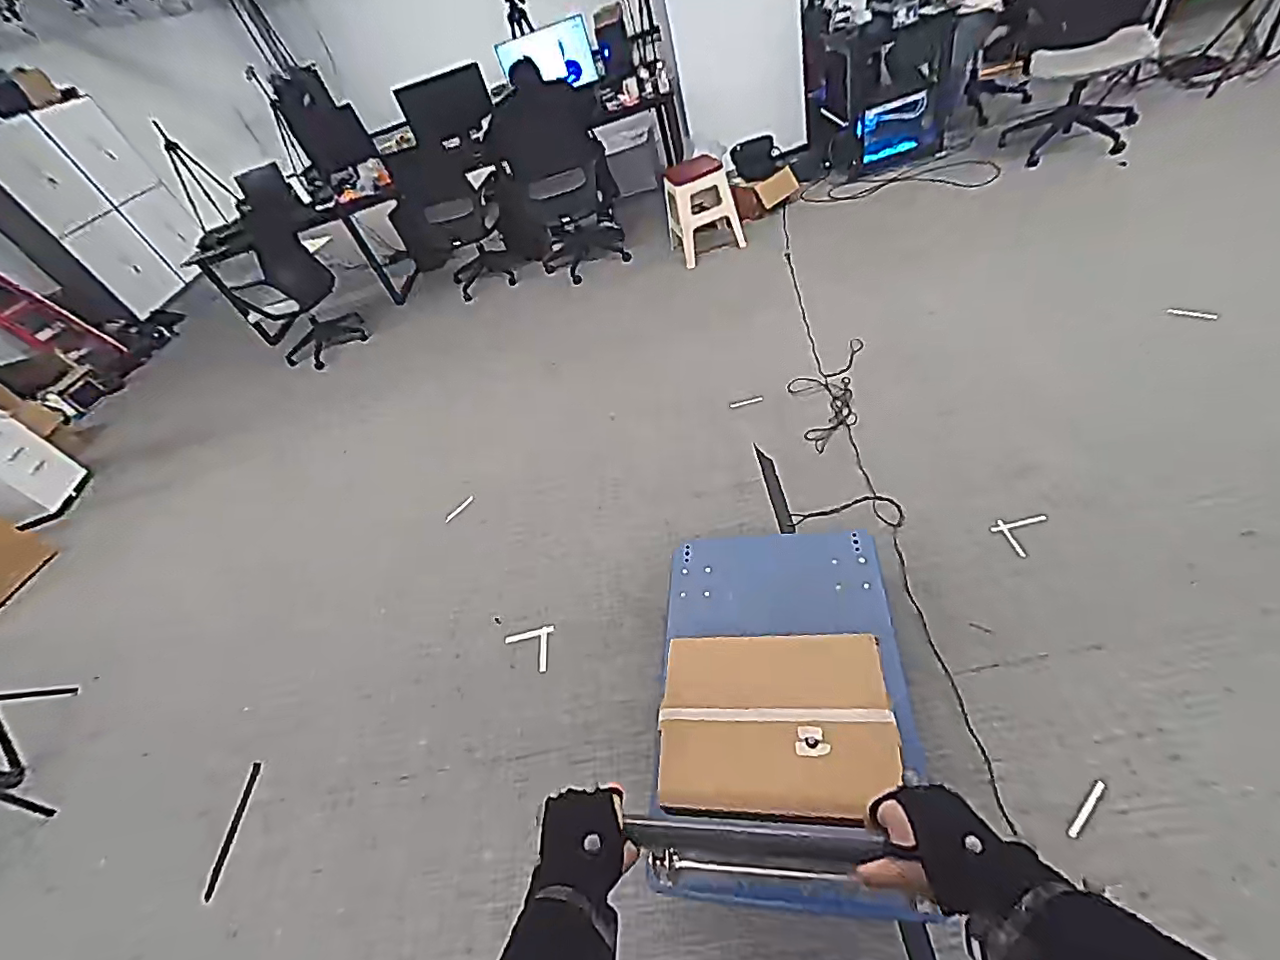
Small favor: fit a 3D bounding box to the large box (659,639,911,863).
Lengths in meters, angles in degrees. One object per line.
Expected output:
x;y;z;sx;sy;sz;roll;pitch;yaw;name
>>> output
0.272;0.533;1.067;0.408;0.320;0.320;-6;46;15;large box
